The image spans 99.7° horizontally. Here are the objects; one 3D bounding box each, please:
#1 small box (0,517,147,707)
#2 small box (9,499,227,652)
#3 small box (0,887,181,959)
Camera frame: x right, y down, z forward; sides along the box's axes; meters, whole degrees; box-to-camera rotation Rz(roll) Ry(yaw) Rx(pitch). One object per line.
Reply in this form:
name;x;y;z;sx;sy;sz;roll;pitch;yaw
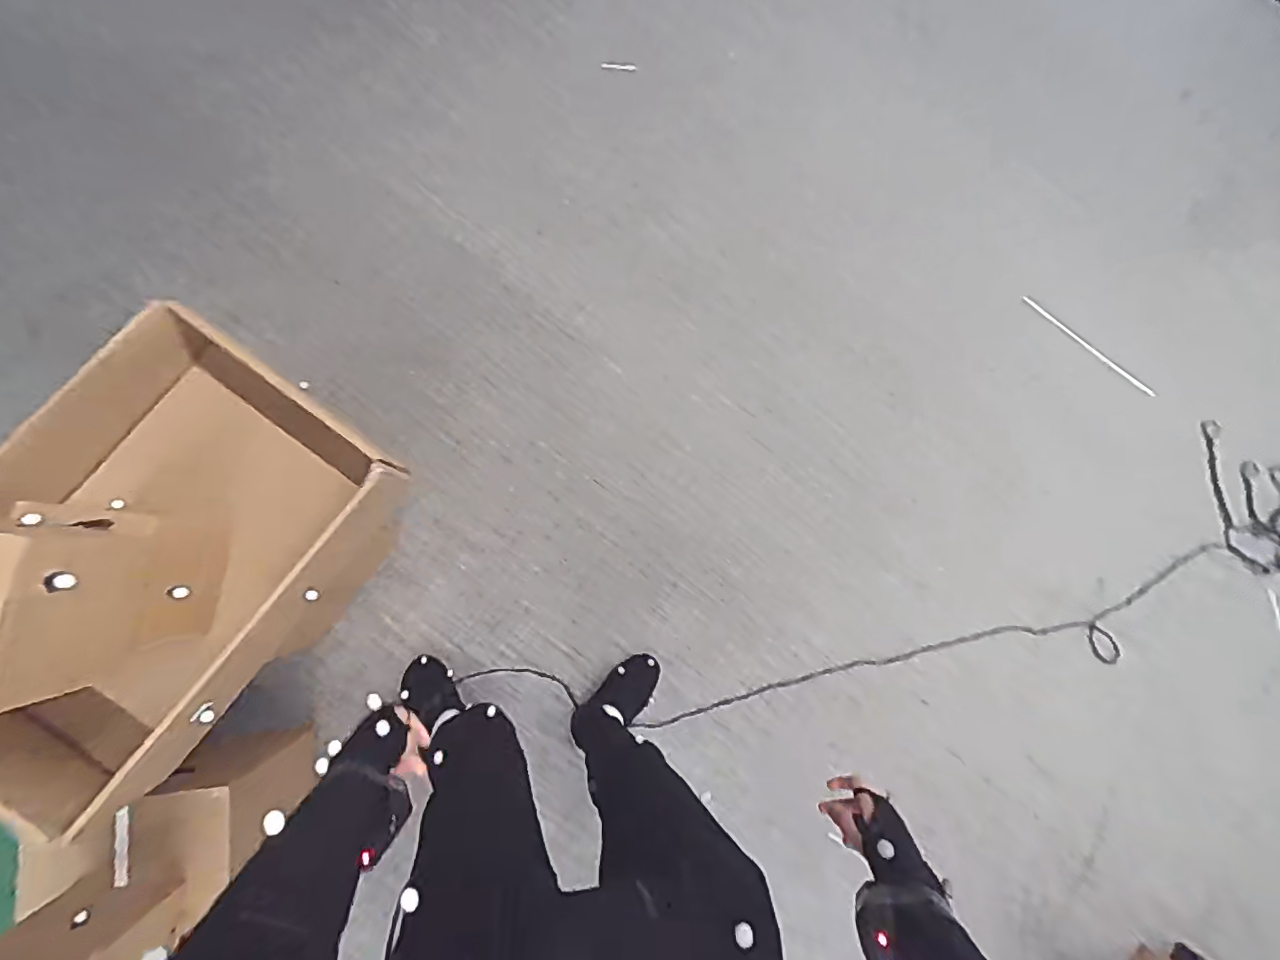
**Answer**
small box;-0.697;0.132;0.586;0.168;0.176;0.179;9;82;-5
small box;-0.721;0.129;0.751;0.168;0.176;0.179;8;82;-8
small box;-0.810;0.714;0.763;0.179;0.176;0.168;1;82;-7
